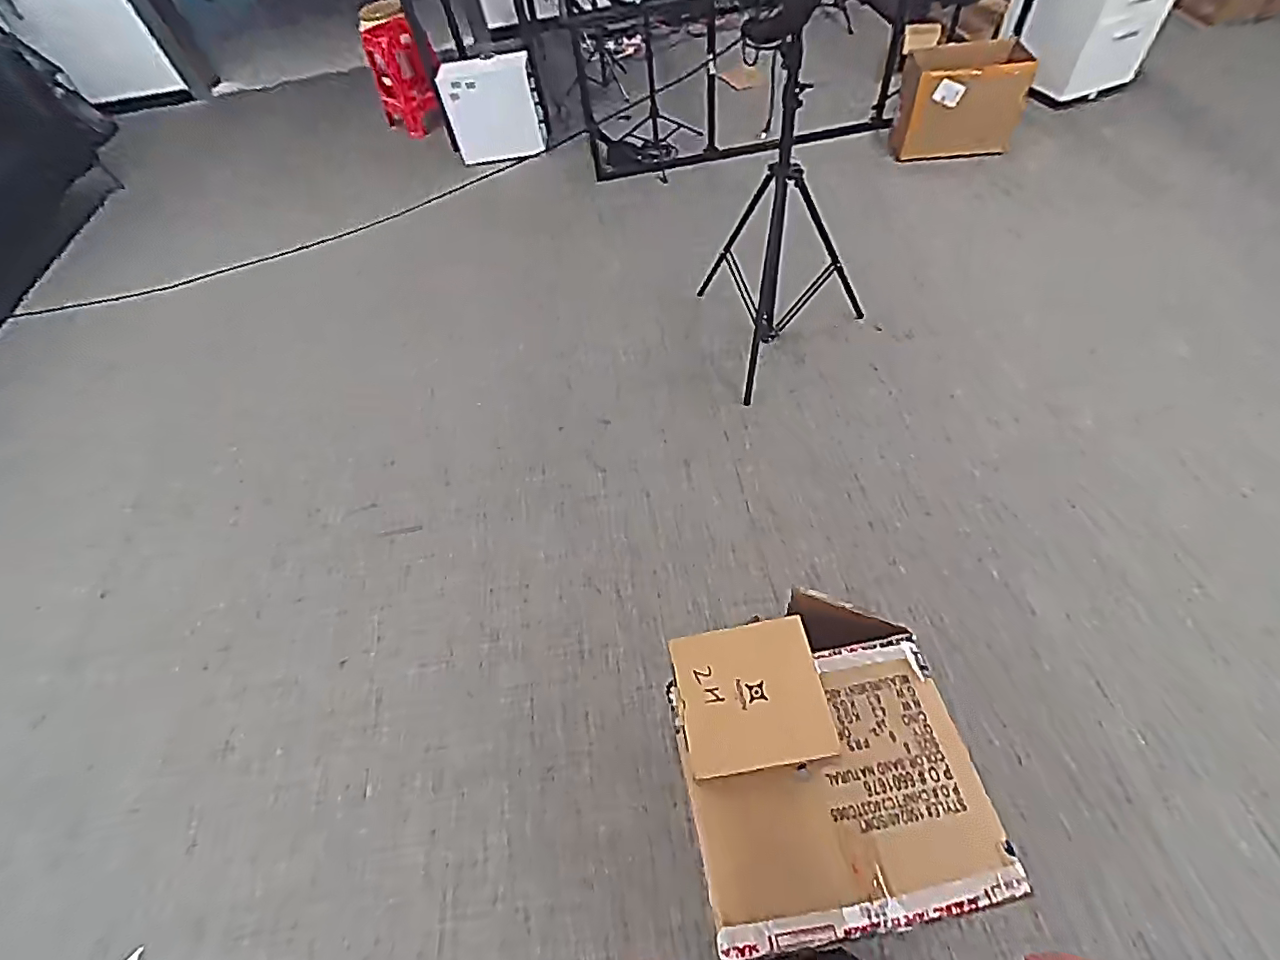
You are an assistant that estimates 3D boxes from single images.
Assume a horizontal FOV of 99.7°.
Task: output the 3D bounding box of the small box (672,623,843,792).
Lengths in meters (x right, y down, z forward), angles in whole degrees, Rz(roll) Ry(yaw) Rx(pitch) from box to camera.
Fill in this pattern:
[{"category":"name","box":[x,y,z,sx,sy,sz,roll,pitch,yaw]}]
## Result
[{"category":"small box","box":[0.148,0.309,0.724,0.179,0.176,0.168,-12,55,3]}]
